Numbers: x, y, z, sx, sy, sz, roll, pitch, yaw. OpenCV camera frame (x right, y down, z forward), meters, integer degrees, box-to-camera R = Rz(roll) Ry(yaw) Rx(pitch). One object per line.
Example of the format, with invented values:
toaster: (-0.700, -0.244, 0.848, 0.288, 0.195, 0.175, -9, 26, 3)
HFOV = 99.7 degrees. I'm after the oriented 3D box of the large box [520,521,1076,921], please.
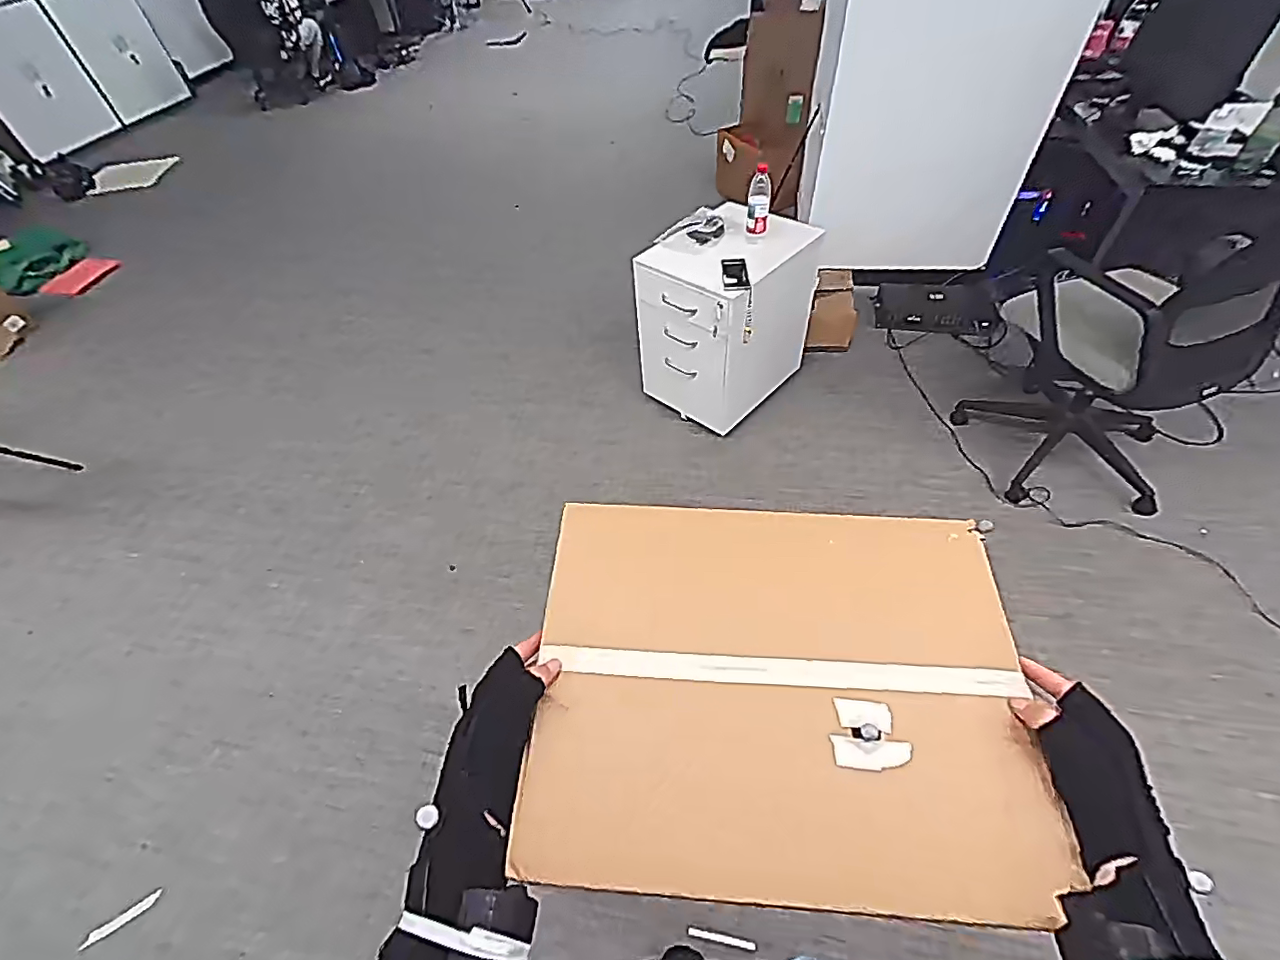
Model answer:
large box: (0.117, 0.257, 0.589, 0.408, 0.320, 0.320, 2, 57, 3)
